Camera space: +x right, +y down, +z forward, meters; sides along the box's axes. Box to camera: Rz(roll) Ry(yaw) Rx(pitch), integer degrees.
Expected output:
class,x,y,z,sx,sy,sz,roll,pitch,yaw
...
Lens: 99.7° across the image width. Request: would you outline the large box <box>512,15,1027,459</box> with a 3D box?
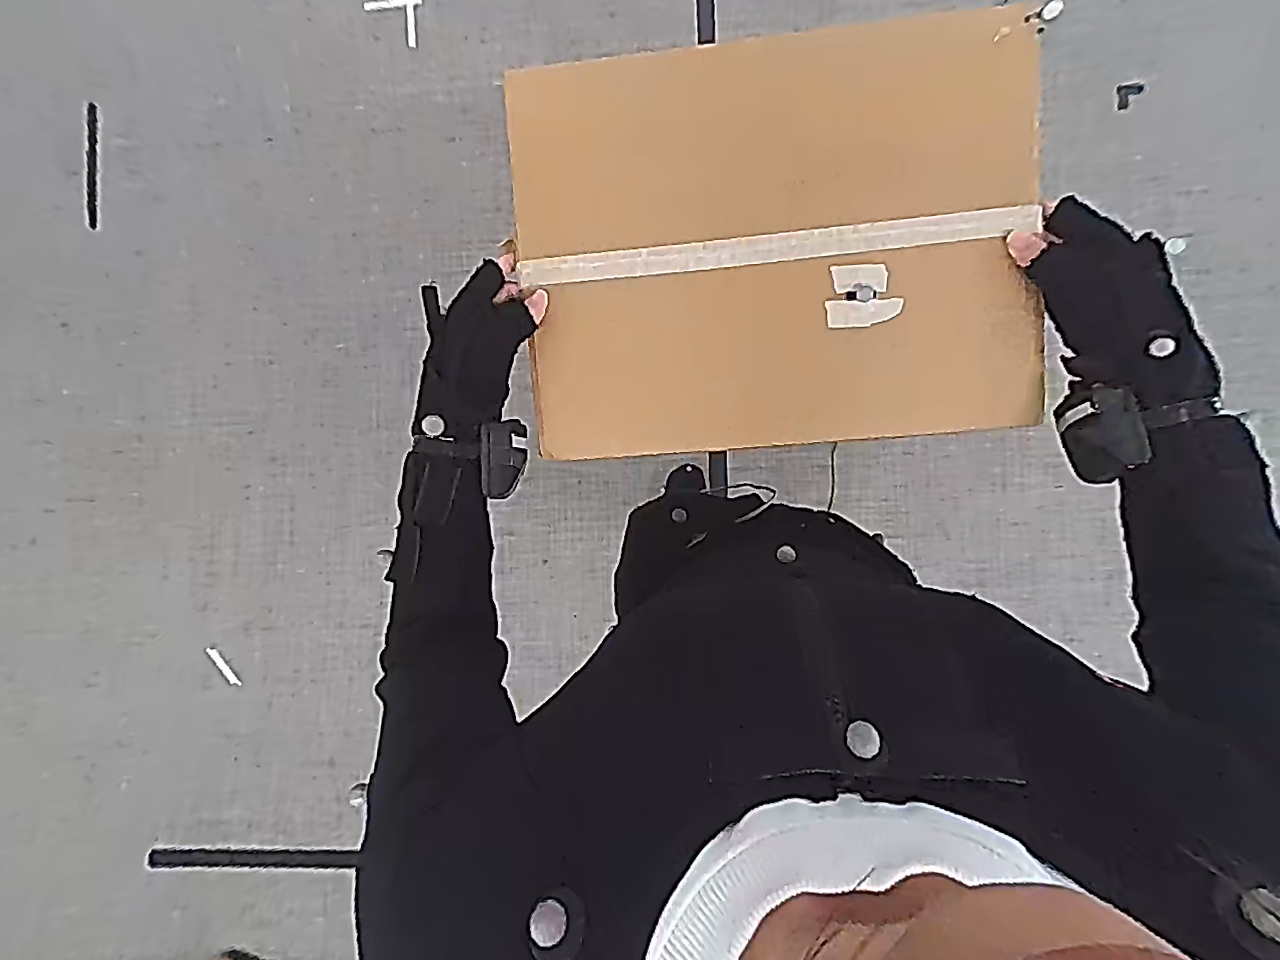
class,x,y,z,sx,sy,sz,roll,pitch,yaw
large box,0.112,-0.202,0.590,0.408,0.320,0.320,-5,96,4
